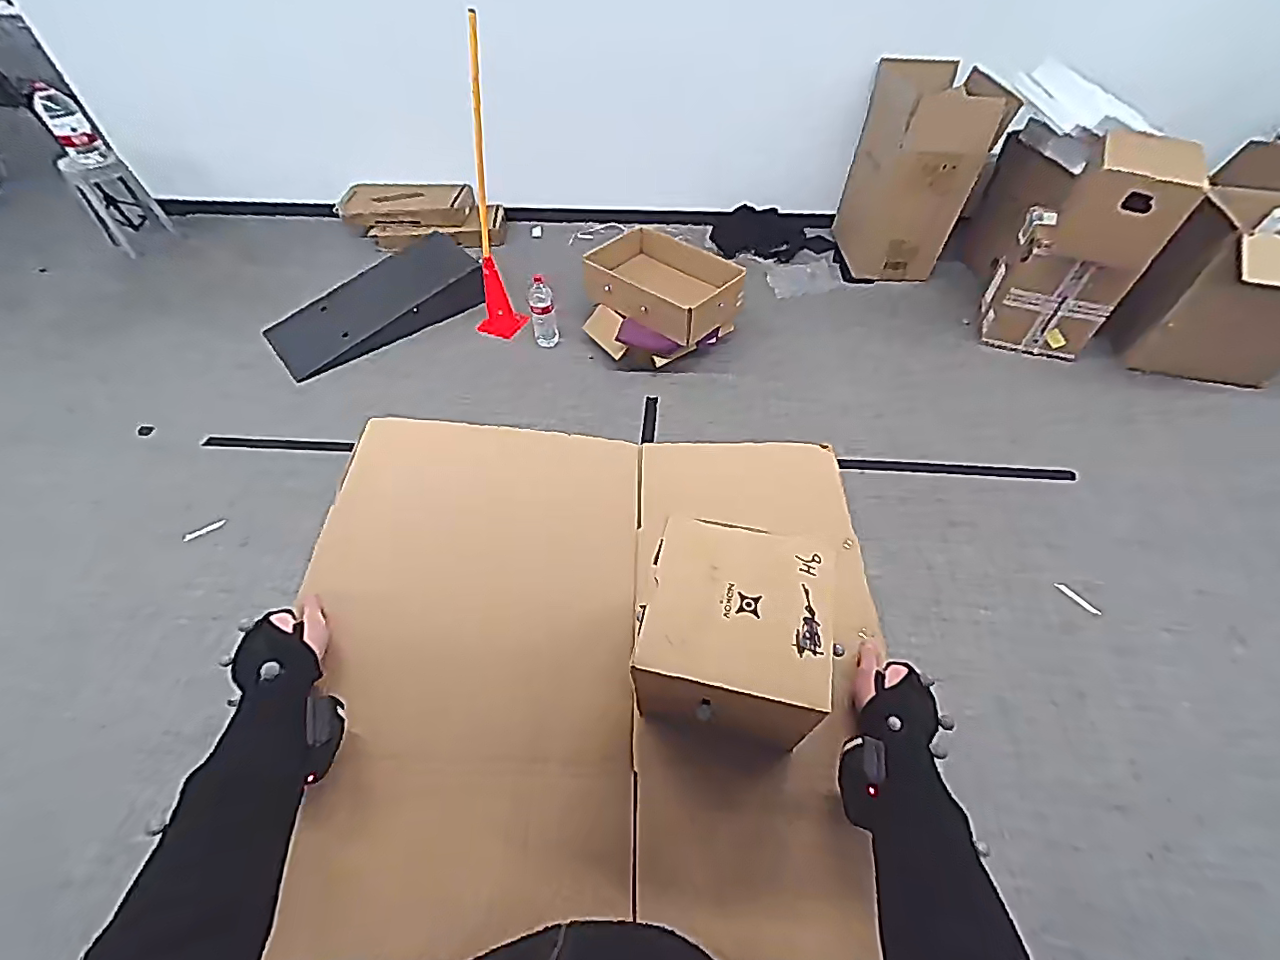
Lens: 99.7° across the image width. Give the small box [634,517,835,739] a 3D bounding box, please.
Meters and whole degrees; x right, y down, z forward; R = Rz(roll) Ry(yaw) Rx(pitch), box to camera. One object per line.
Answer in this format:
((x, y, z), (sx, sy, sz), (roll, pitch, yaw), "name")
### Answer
((0.101, 0.164, 0.585), (0.179, 0.176, 0.168), (9, 55, 10), "small box")
